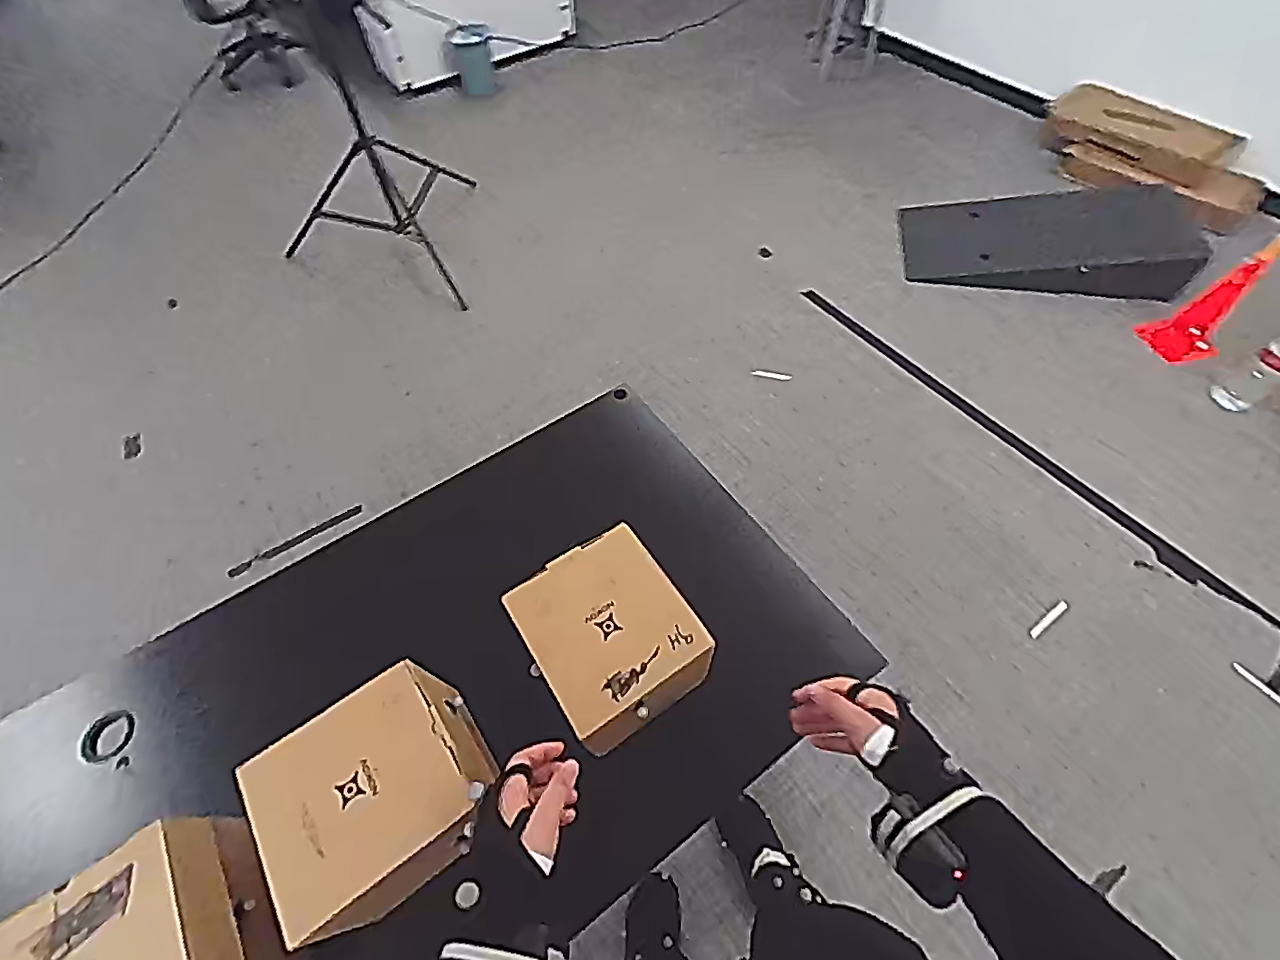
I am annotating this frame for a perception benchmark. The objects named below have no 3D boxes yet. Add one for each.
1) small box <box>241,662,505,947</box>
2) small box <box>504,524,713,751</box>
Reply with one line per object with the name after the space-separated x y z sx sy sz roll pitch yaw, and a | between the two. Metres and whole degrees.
-0.260 0.327 0.569 0.179 0.176 0.168 -34 62 -17 | small box
-0.035 0.191 0.643 0.168 0.176 0.179 -31 61 -16 | small box
